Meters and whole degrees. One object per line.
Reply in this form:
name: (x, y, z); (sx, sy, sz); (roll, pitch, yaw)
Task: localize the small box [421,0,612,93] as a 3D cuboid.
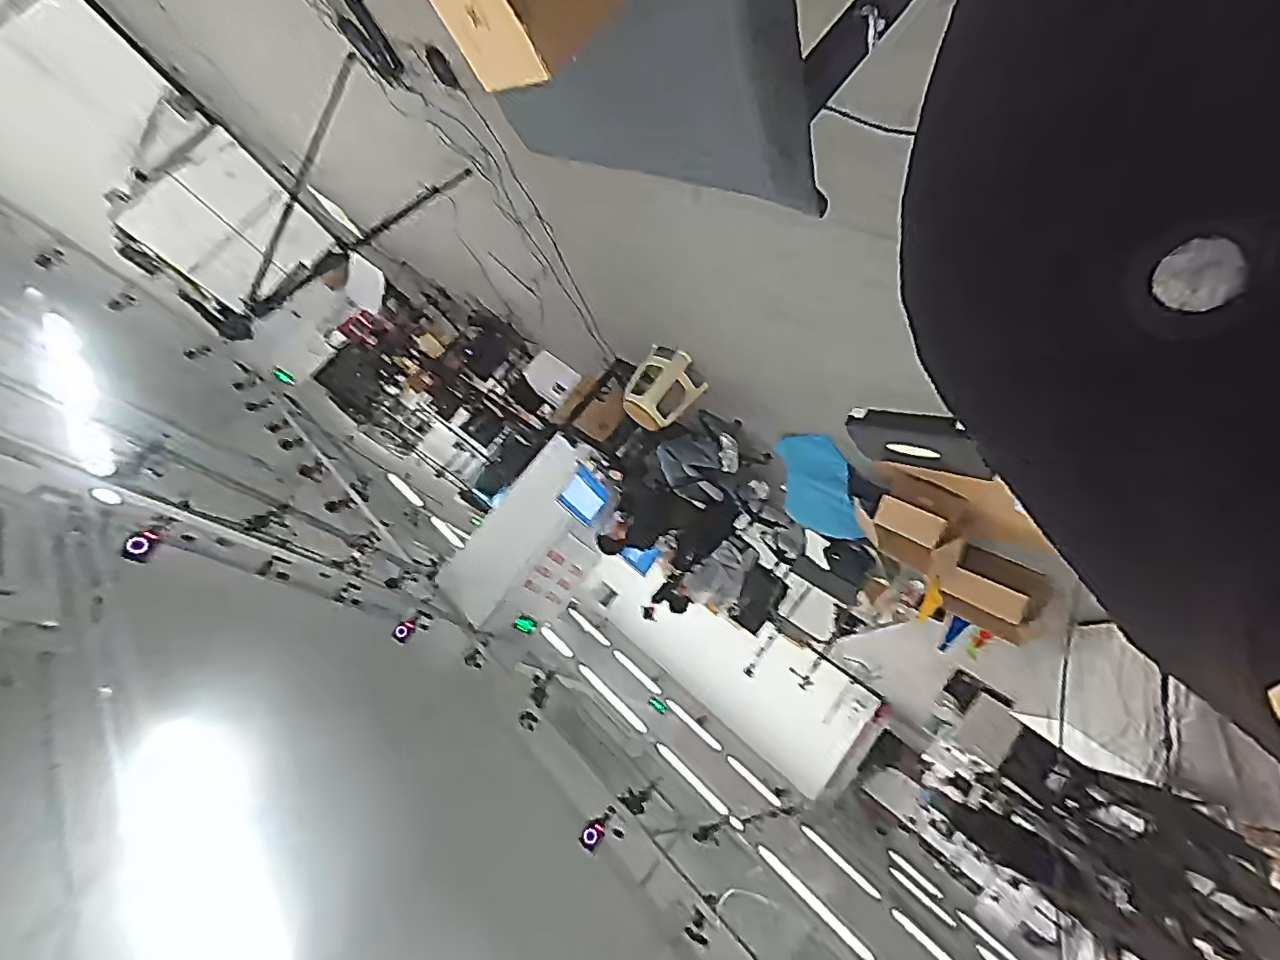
small box: (-0.158, -0.622, 0.667); (0.179, 0.176, 0.168); (32, 167, 42)
